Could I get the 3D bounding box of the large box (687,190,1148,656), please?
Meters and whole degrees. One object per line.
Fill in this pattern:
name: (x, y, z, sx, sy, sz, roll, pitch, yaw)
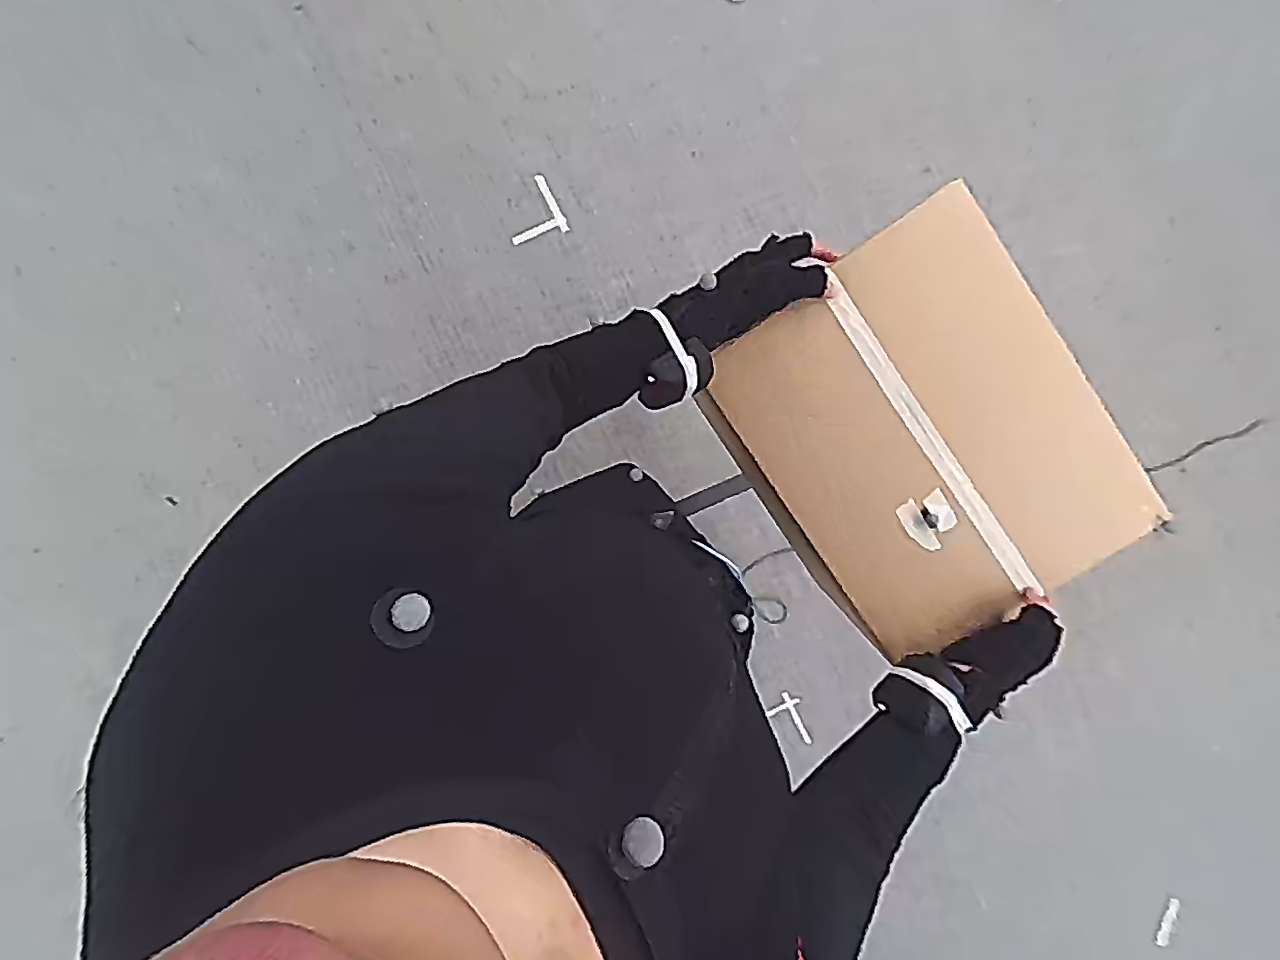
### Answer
large box: (0.302, -0.067, 0.714, 0.320, 0.320, 0.408, -34, 95, 8)
